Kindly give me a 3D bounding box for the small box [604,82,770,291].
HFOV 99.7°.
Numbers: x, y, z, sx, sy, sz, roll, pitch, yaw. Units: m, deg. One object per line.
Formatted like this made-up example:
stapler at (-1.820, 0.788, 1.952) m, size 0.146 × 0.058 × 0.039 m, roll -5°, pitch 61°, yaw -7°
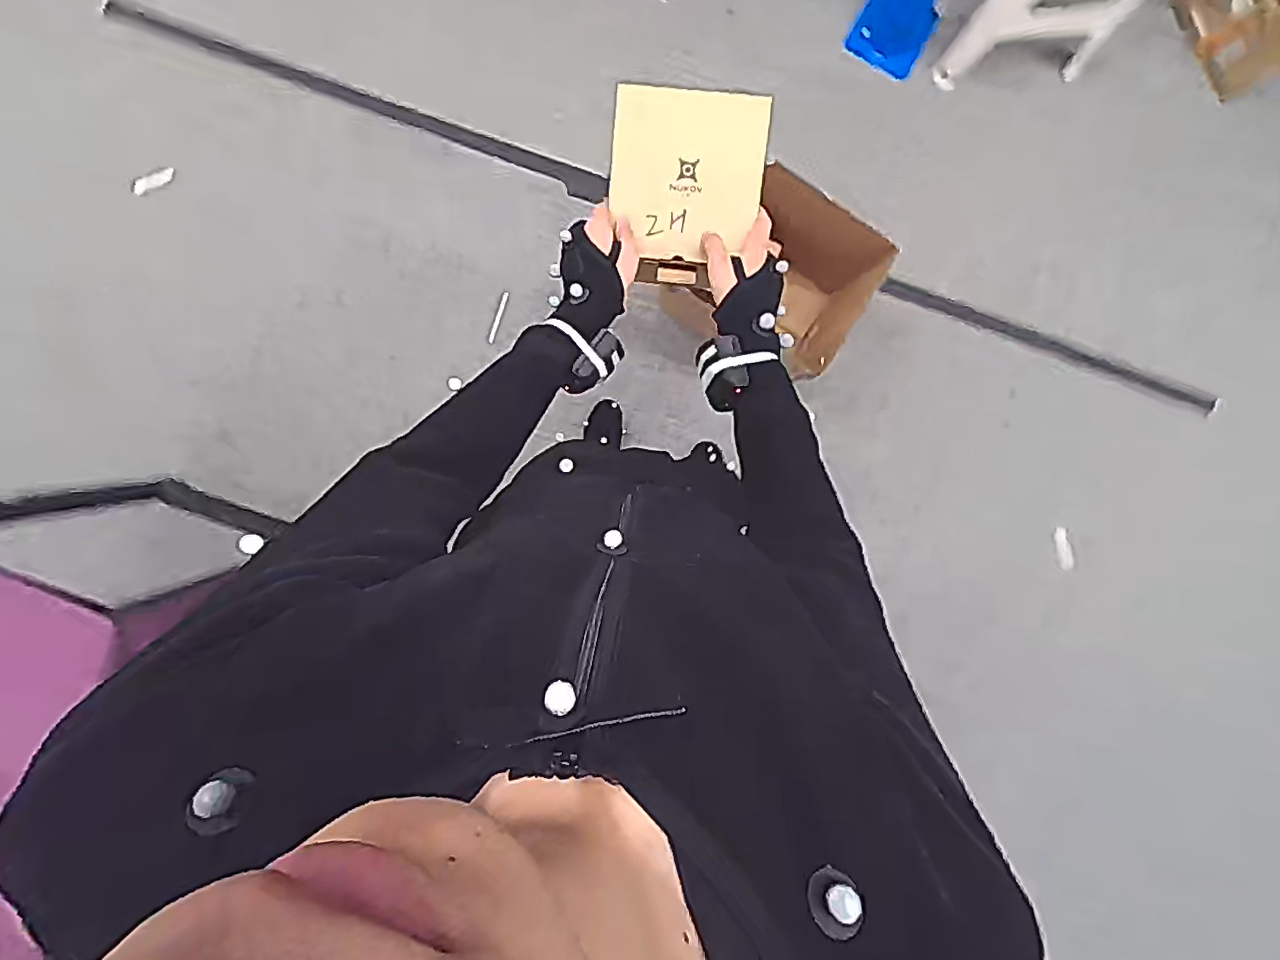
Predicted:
small box at (0.050, -0.338, 0.656) m, size 0.168 × 0.176 × 0.179 m, roll 5°, pitch 102°, yaw 1°
